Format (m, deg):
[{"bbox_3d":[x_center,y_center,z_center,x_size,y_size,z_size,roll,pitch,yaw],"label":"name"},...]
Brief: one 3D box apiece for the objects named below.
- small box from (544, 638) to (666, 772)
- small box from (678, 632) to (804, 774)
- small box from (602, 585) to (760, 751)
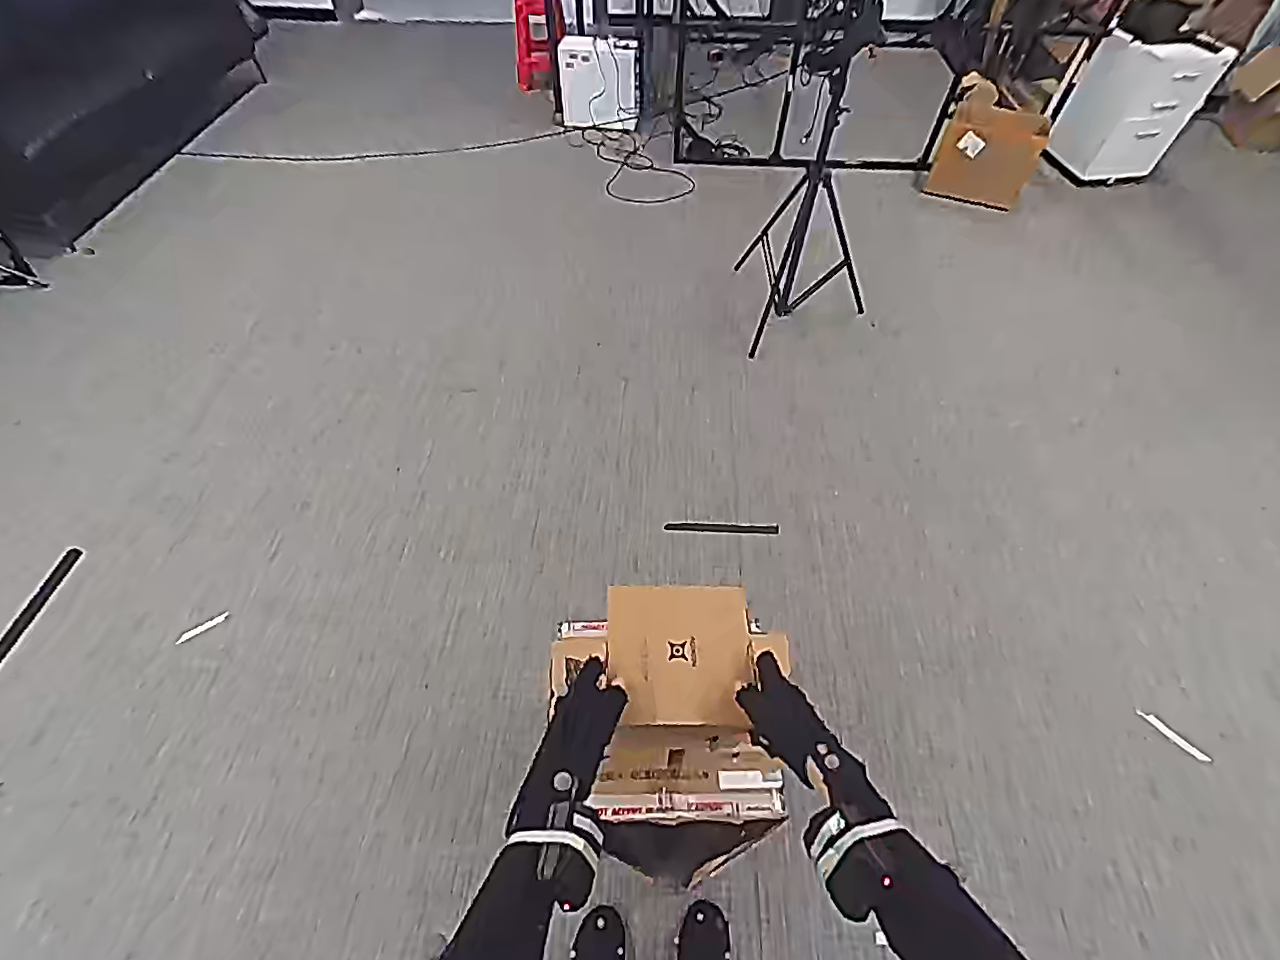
[{"bbox_3d":[-0.050,0.363,0.870,0.179,0.176,0.168,-3,53,-1],"label":"small box"},{"bbox_3d":[0.148,0.360,0.874,0.168,0.176,0.179,1,53,-1],"label":"small box"},{"bbox_3d":[0.040,0.247,0.702,0.179,0.176,0.168,0,54,-3],"label":"small box"}]
